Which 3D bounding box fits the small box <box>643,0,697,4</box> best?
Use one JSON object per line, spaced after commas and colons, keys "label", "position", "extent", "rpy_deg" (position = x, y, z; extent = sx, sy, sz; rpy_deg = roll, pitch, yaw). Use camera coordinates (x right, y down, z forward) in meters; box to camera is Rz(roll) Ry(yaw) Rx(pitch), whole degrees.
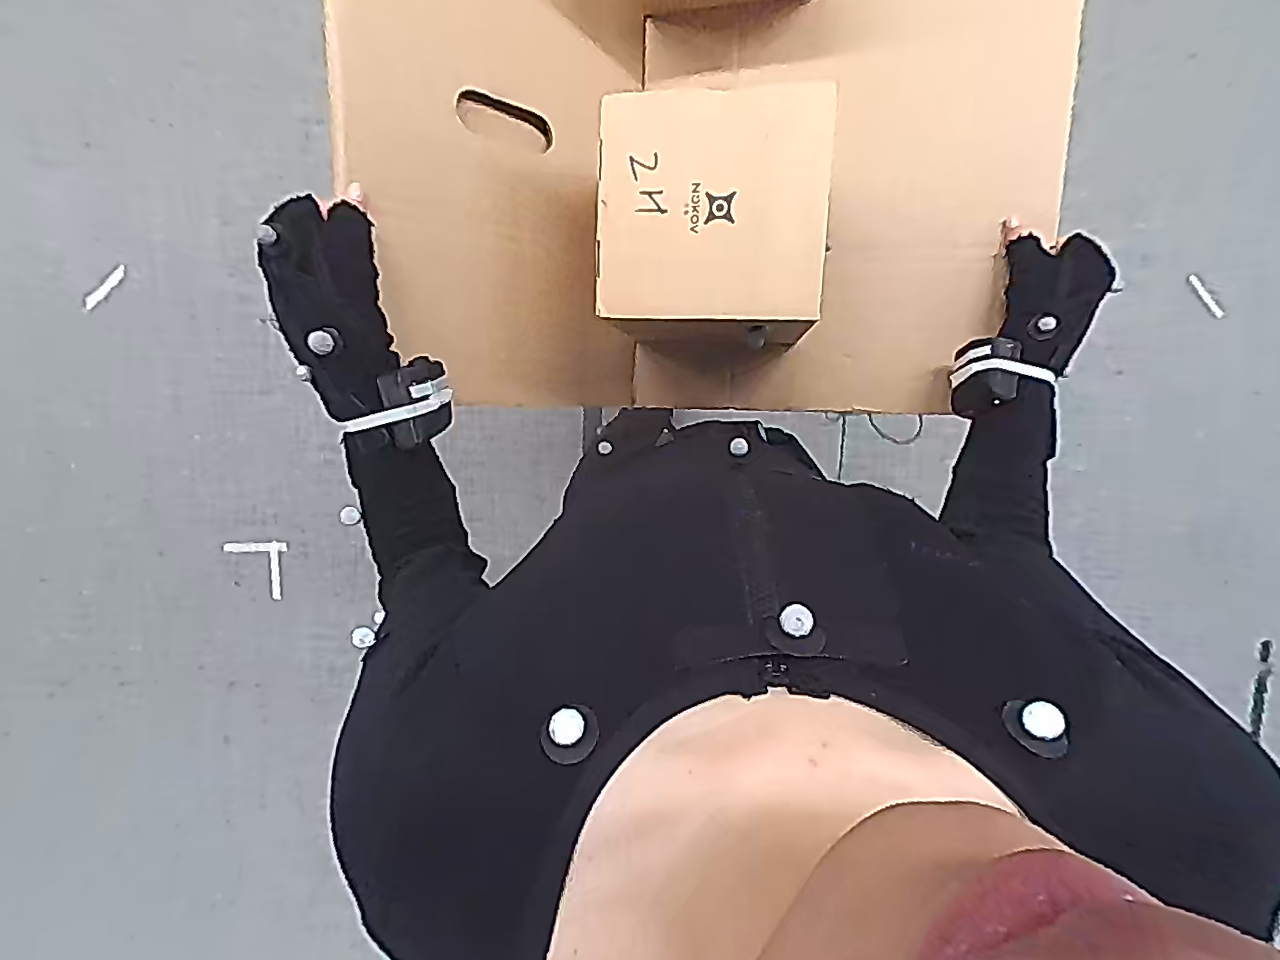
{"label": "small box", "position": [0.069, -0.545, 0.449], "extent": [0.179, 0.176, 0.168], "rpy_deg": [2, 98, 10]}
